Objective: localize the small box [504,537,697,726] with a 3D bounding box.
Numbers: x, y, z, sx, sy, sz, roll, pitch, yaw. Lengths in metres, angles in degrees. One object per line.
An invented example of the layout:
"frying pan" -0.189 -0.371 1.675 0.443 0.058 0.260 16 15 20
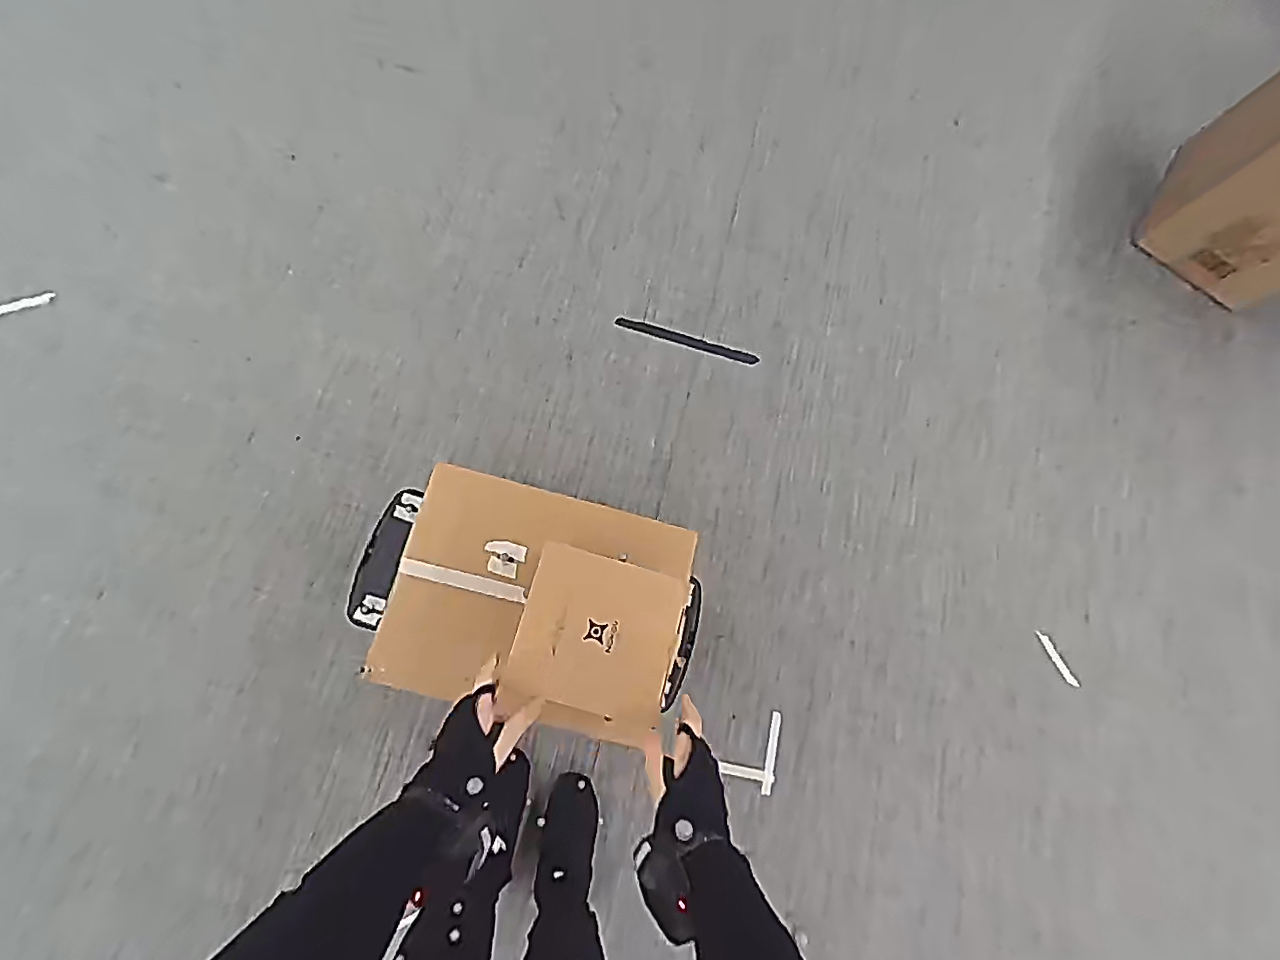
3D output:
"small box" -0.049 0.180 0.671 0.179 0.176 0.168 18 75 -2

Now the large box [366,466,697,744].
"large box" -0.153 0.204 0.906 0.408 0.320 0.320 15 74 -3
